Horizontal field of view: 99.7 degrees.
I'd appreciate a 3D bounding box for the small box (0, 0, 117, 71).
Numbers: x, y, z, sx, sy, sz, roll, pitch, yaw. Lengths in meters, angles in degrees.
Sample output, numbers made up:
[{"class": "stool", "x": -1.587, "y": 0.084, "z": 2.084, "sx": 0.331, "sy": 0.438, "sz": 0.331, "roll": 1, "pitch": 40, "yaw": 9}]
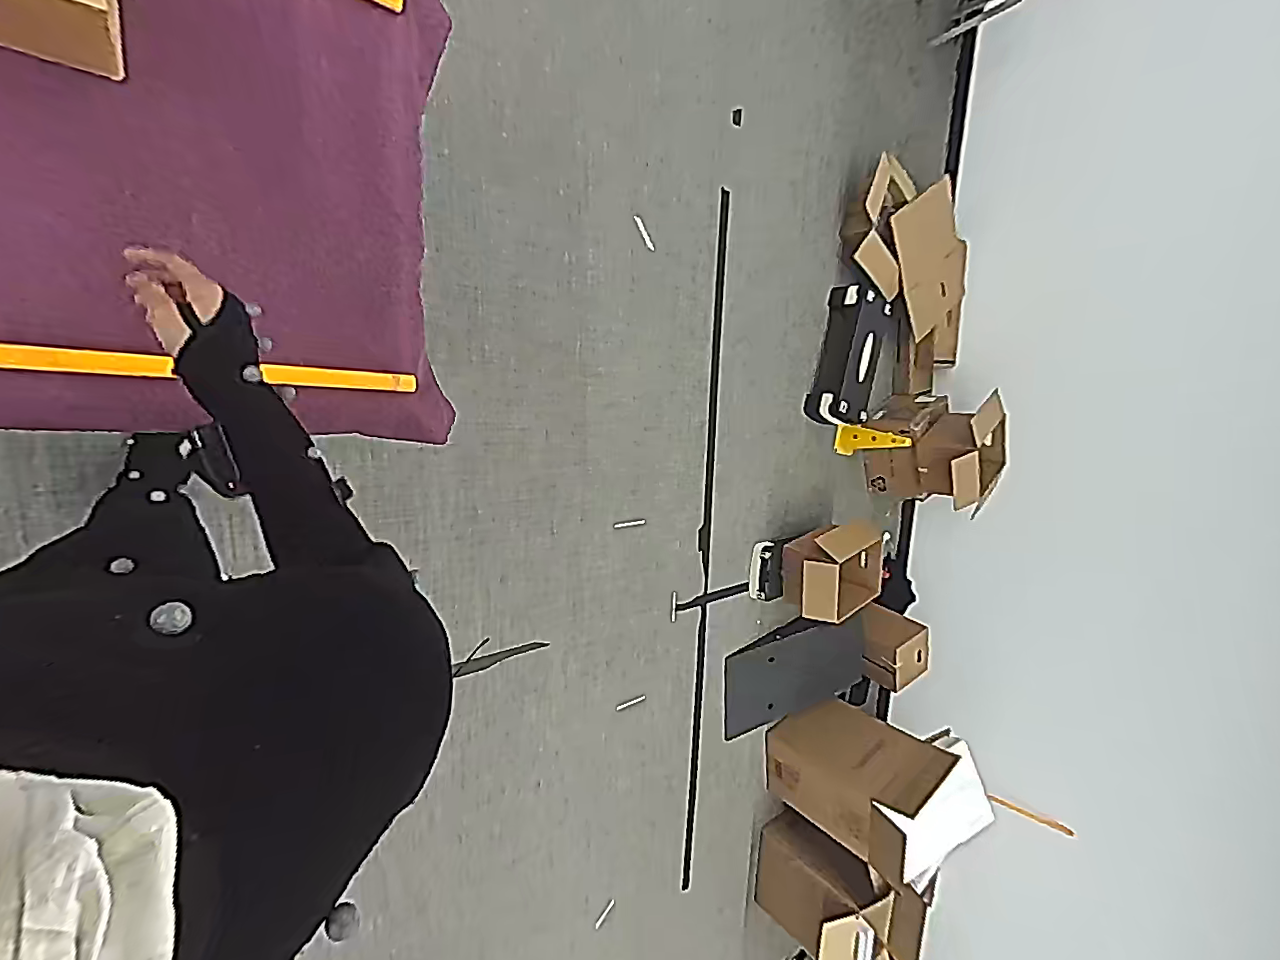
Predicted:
[{"class": "small box", "x": -0.589, "y": -0.504, "z": 0.476, "sx": 0.179, "sy": 0.176, "sz": 0.168, "roll": -4, "pitch": 103, "yaw": -39}]
